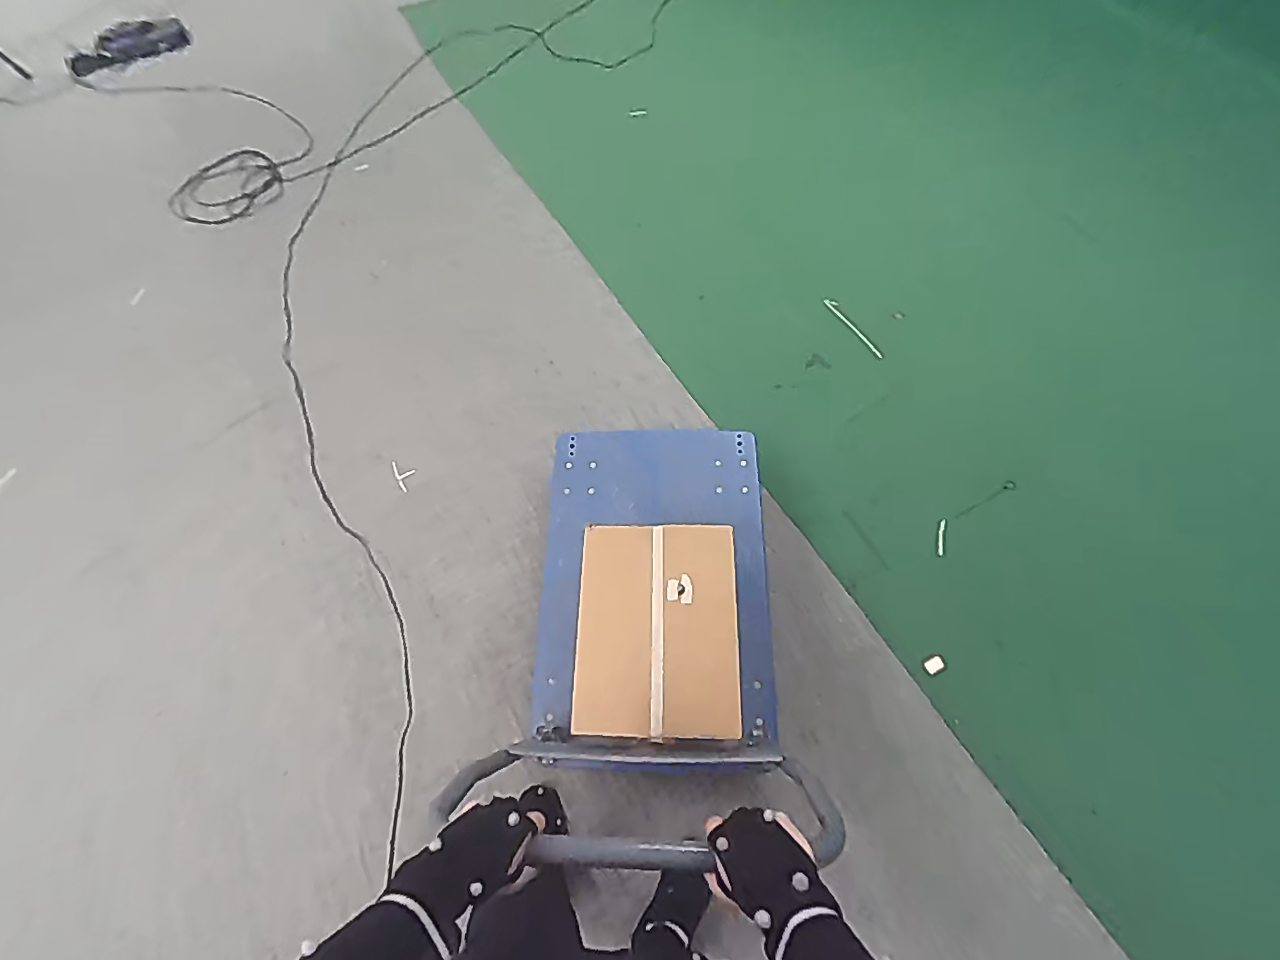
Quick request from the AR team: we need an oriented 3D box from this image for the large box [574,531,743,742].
[{"bbox_3d":[0.045,0.354,1.192,0.320,0.320,0.408,0,65,4],"label":"large box"}]
